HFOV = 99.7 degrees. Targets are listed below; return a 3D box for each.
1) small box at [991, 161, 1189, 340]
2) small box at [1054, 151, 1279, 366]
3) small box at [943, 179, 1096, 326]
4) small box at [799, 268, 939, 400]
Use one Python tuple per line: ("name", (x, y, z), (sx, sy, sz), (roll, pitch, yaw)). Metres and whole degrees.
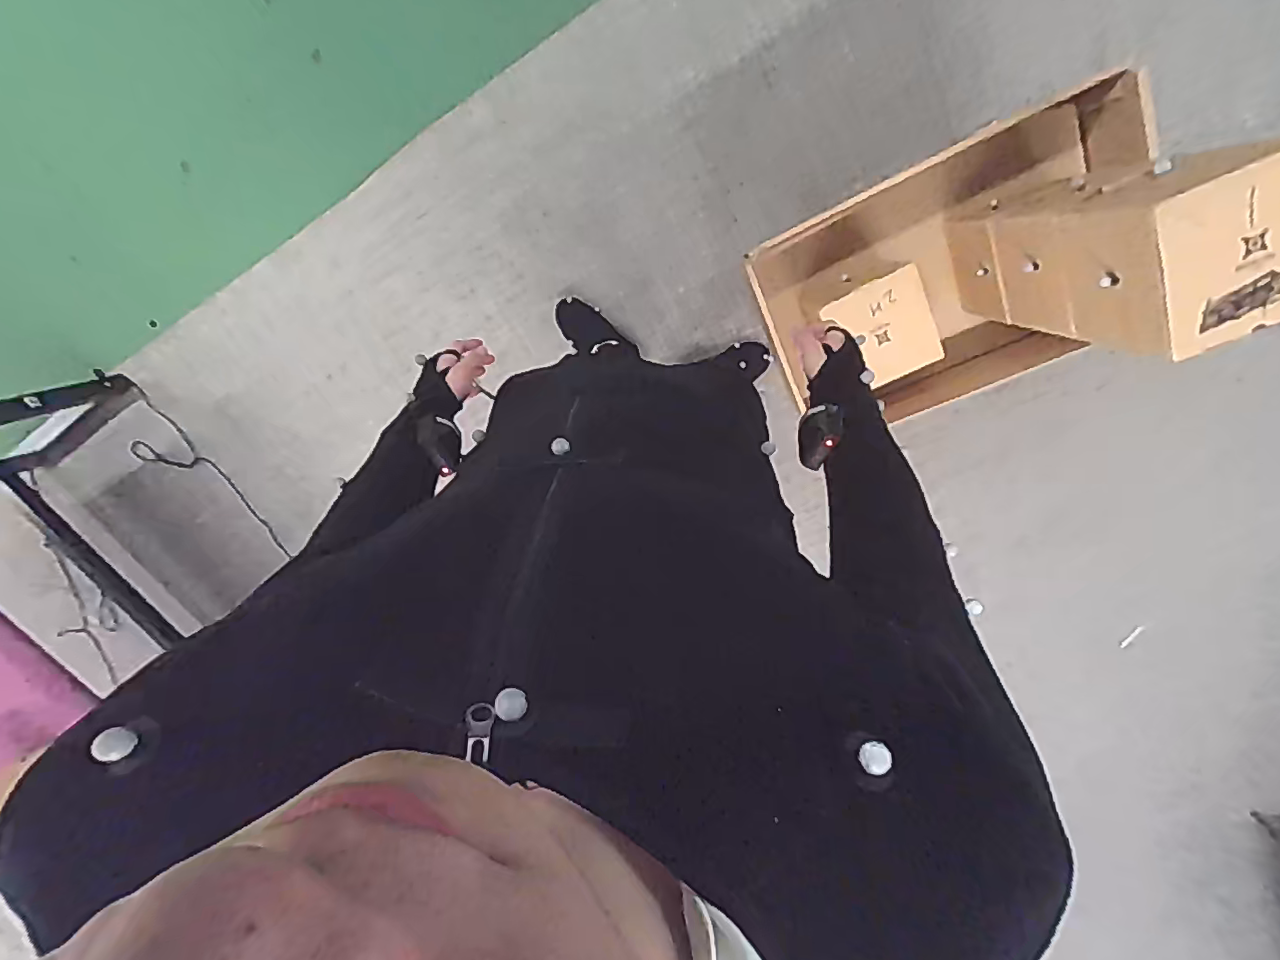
("small box", (0.647, -0.325, 0.788), (0.168, 0.176, 0.179), (-21, 109, 14))
("small box", (0.635, -0.260, 0.637), (0.168, 0.176, 0.179), (-22, 109, 13))
("small box", (0.656, -0.389, 0.939), (0.168, 0.176, 0.179), (-20, 110, 13))
("small box", (0.414, -0.275, 0.999), (0.168, 0.176, 0.179), (-24, 109, 12))
